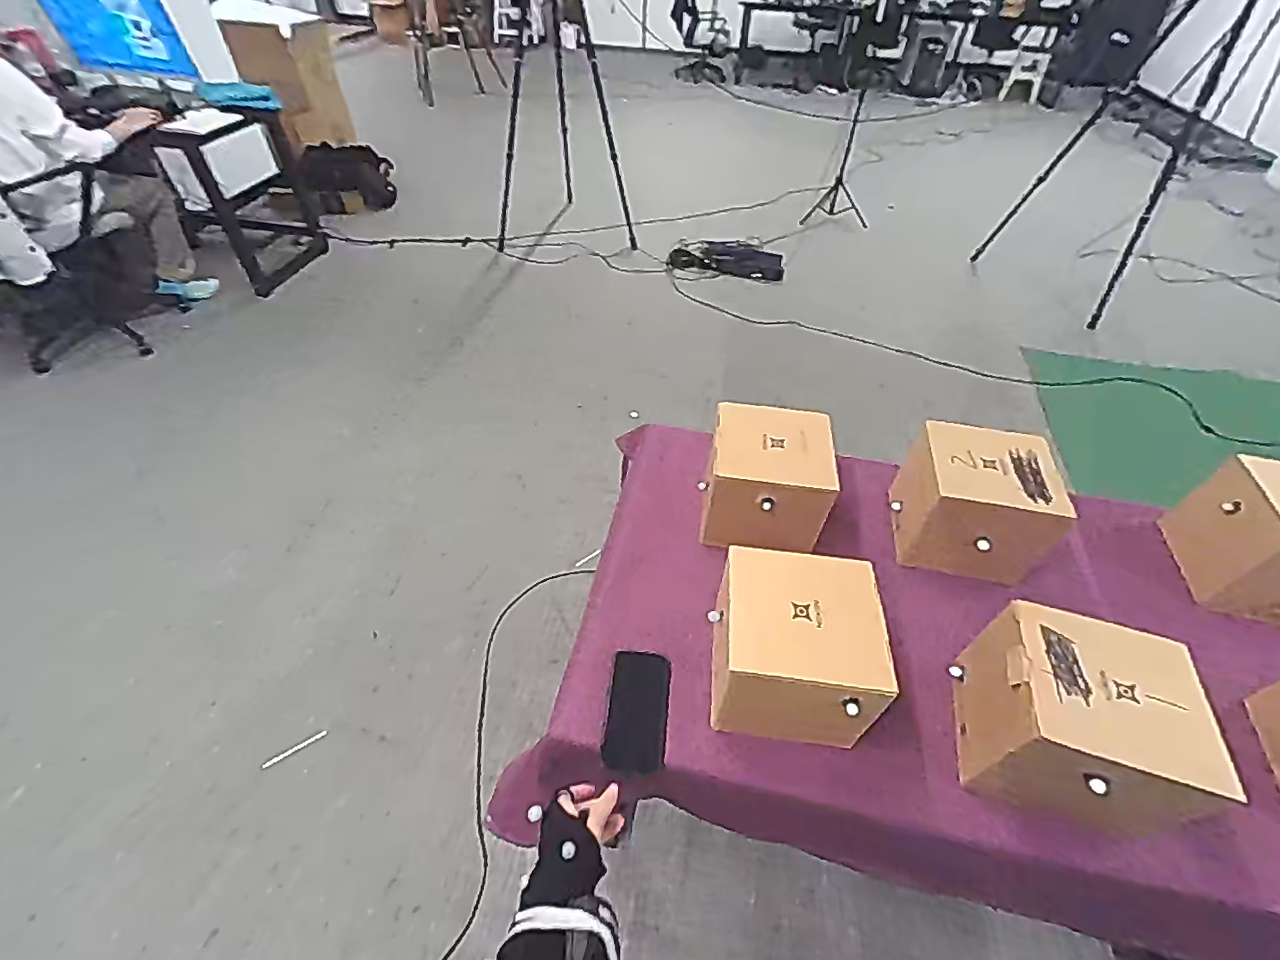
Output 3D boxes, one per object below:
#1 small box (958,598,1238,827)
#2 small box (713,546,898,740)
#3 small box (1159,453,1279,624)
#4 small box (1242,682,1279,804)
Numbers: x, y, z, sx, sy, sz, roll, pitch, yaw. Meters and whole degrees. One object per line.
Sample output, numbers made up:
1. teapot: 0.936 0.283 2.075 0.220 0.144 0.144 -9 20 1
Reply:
1. small box: 0.490 0.269 0.622 0.179 0.176 0.168 15 48 11
2. small box: 0.188 0.204 0.673 0.179 0.176 0.168 7 46 3
3. small box: 0.942 0.091 0.805 0.168 0.176 0.179 12 48 10
4. small box: 0.858 0.310 0.597 0.179 0.176 0.168 16 48 12
